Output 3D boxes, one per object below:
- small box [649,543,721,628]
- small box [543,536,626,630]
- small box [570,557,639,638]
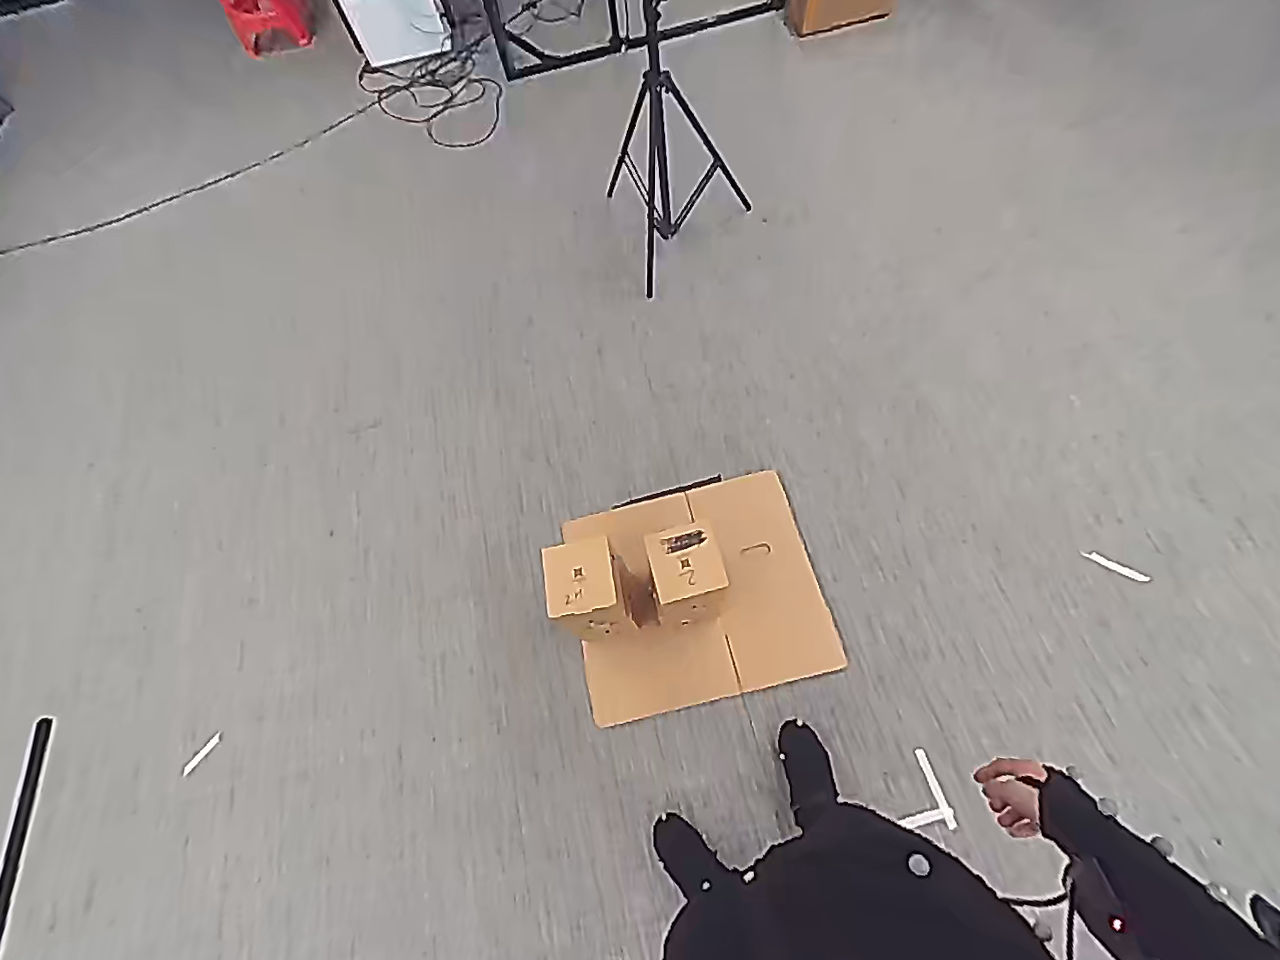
[{"bbox_3d":[0.122,0.293,1.481,0.168,0.176,0.179,-11,65,2],"label":"small box"},{"bbox_3d":[-0.135,0.260,1.346,0.168,0.176,0.179,-12,65,3],"label":"small box"},{"bbox_3d":[-0.105,0.332,1.491,0.168,0.176,0.179,-13,65,2],"label":"small box"}]
